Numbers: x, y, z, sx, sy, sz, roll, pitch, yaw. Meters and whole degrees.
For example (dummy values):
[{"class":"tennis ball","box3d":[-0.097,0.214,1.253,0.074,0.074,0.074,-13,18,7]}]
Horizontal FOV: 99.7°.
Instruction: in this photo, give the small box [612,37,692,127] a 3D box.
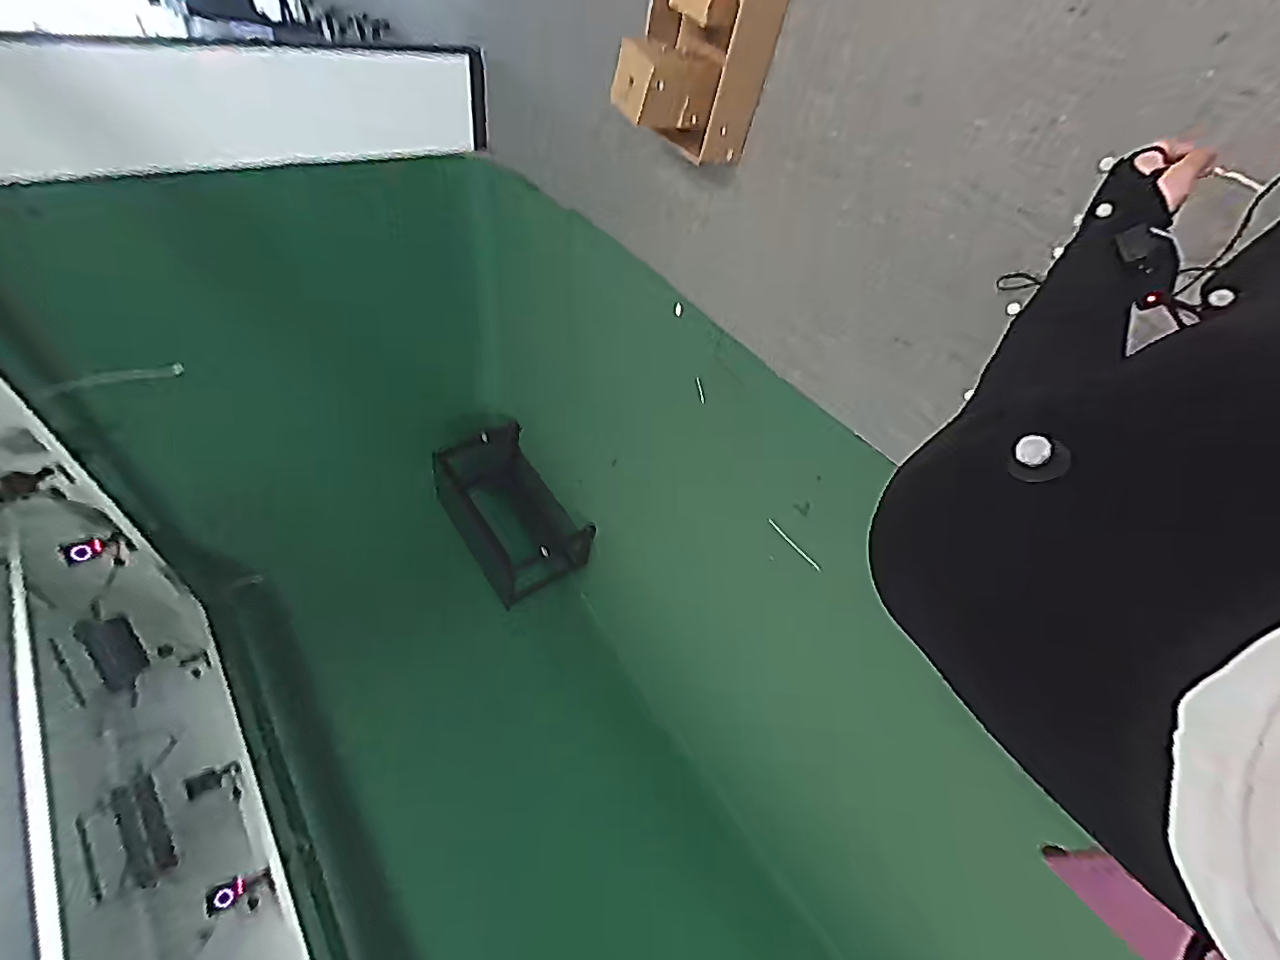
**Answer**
[{"class":"small box","box3d":[0.042,-1.255,1.711,0.168,0.176,0.179,56,147,18]}]
